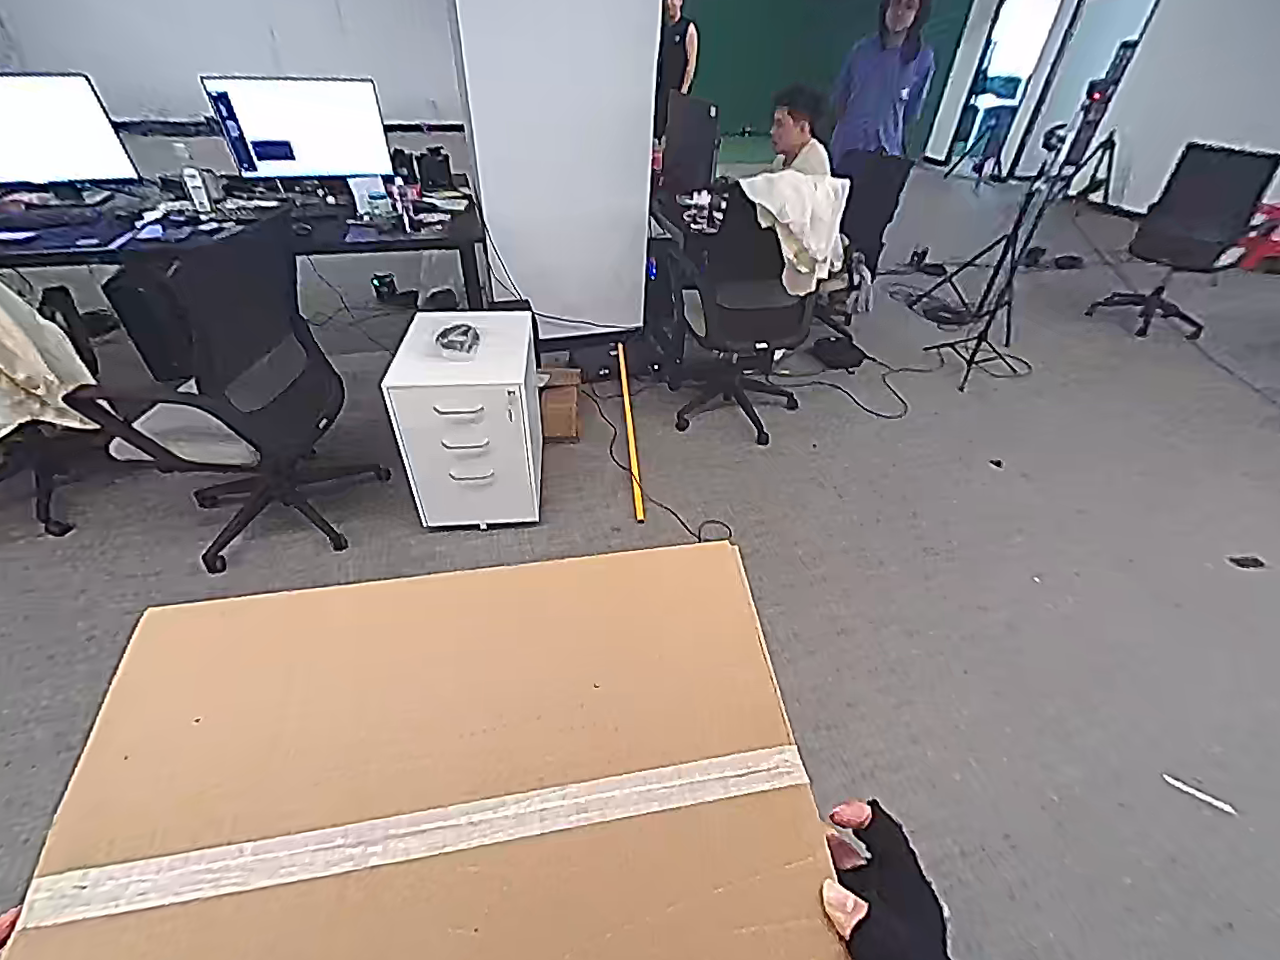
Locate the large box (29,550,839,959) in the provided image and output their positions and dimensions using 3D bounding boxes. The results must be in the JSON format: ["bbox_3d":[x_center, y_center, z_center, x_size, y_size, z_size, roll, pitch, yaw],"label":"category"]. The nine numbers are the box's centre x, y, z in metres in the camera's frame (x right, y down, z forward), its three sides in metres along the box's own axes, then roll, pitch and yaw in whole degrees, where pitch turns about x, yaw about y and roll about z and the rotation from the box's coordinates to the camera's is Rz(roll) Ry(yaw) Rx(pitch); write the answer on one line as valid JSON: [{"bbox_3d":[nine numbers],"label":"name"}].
[{"bbox_3d":[-0.112,0.285,0.426,0.408,0.320,0.320,-6,53,-7],"label":"large box"}]
